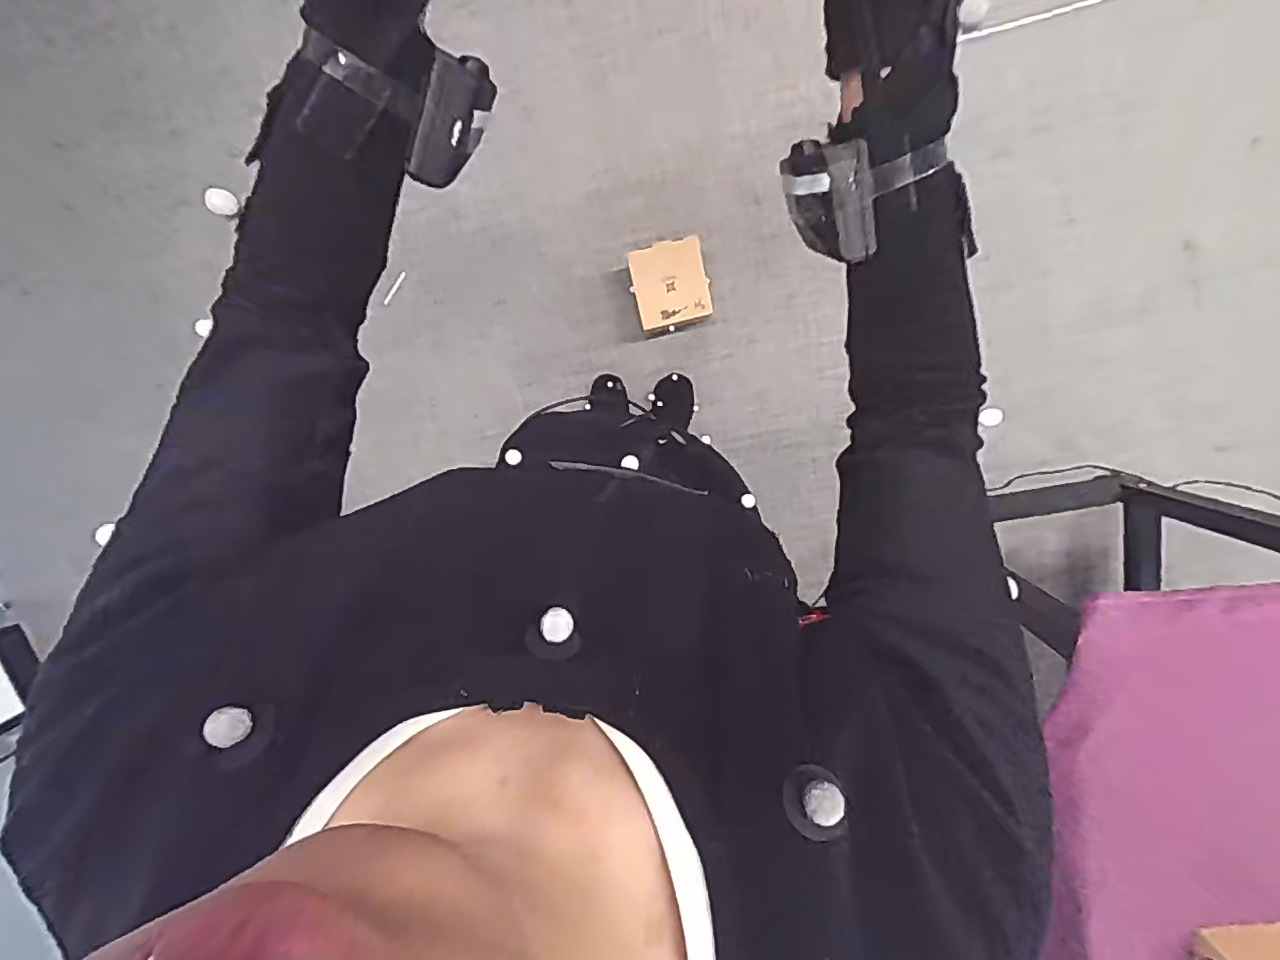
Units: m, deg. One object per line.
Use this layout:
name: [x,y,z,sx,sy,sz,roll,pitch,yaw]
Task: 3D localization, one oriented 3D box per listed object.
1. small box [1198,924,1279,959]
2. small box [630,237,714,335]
small box: [0.938,0.767,0.756,0.179,0.176,0.168,-9,101,4]
small box: [0.075,-0.456,1.297,0.168,0.176,0.179,-12,100,6]
